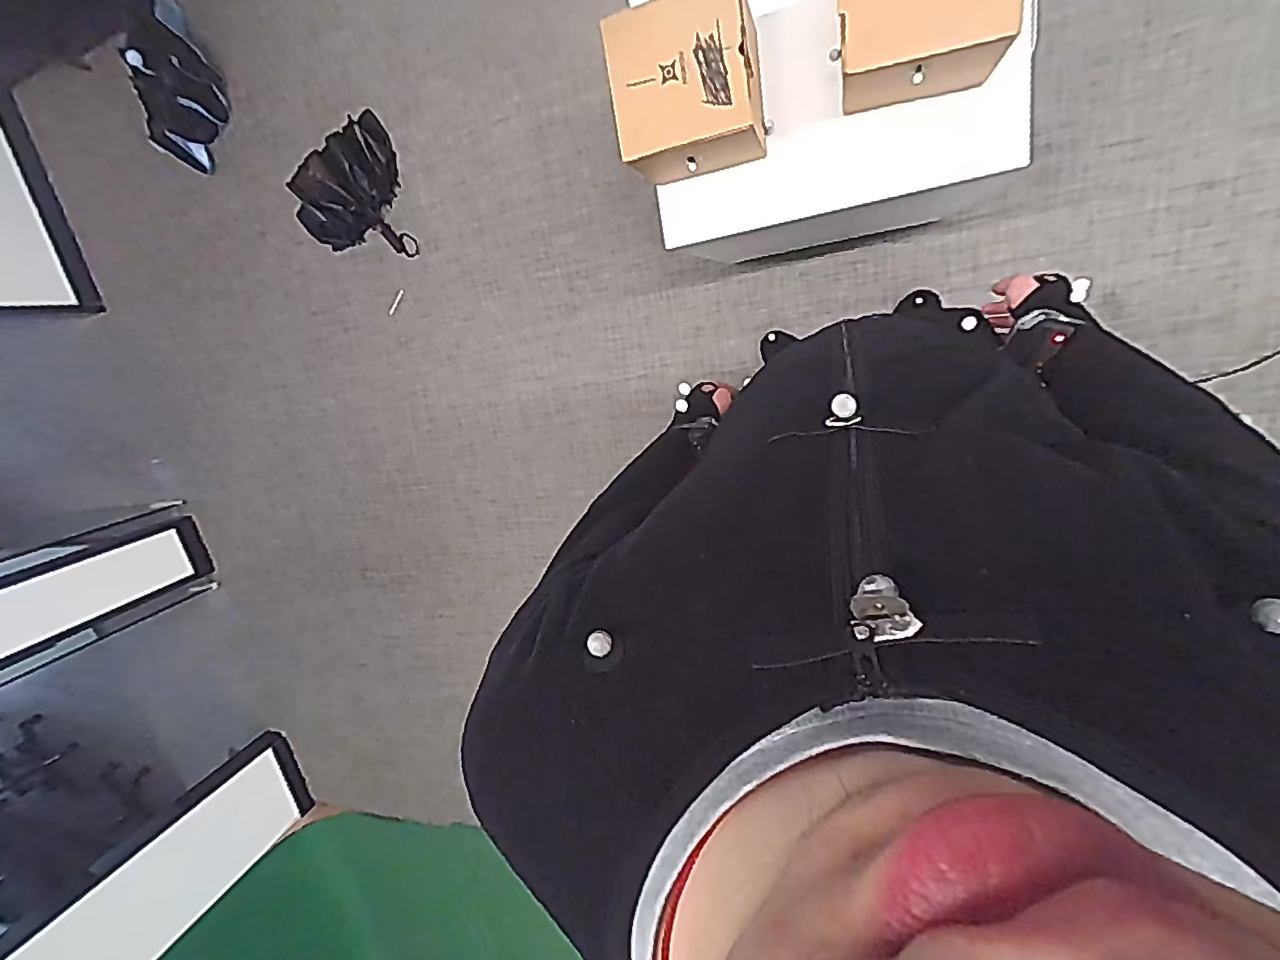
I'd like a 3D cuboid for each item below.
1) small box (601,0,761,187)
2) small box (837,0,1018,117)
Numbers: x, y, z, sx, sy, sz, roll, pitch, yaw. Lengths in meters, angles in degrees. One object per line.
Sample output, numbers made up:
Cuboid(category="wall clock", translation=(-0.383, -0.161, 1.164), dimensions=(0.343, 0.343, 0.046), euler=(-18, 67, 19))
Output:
Cuboid(category="small box", translation=(0.068, -0.524, 0.745), dimensions=(0.179, 0.176, 0.168), euler=(-3, 106, 21))
Cuboid(category="small box", translation=(0.328, -0.559, 0.641), dimensions=(0.179, 0.176, 0.168), euler=(0, 109, 20))
